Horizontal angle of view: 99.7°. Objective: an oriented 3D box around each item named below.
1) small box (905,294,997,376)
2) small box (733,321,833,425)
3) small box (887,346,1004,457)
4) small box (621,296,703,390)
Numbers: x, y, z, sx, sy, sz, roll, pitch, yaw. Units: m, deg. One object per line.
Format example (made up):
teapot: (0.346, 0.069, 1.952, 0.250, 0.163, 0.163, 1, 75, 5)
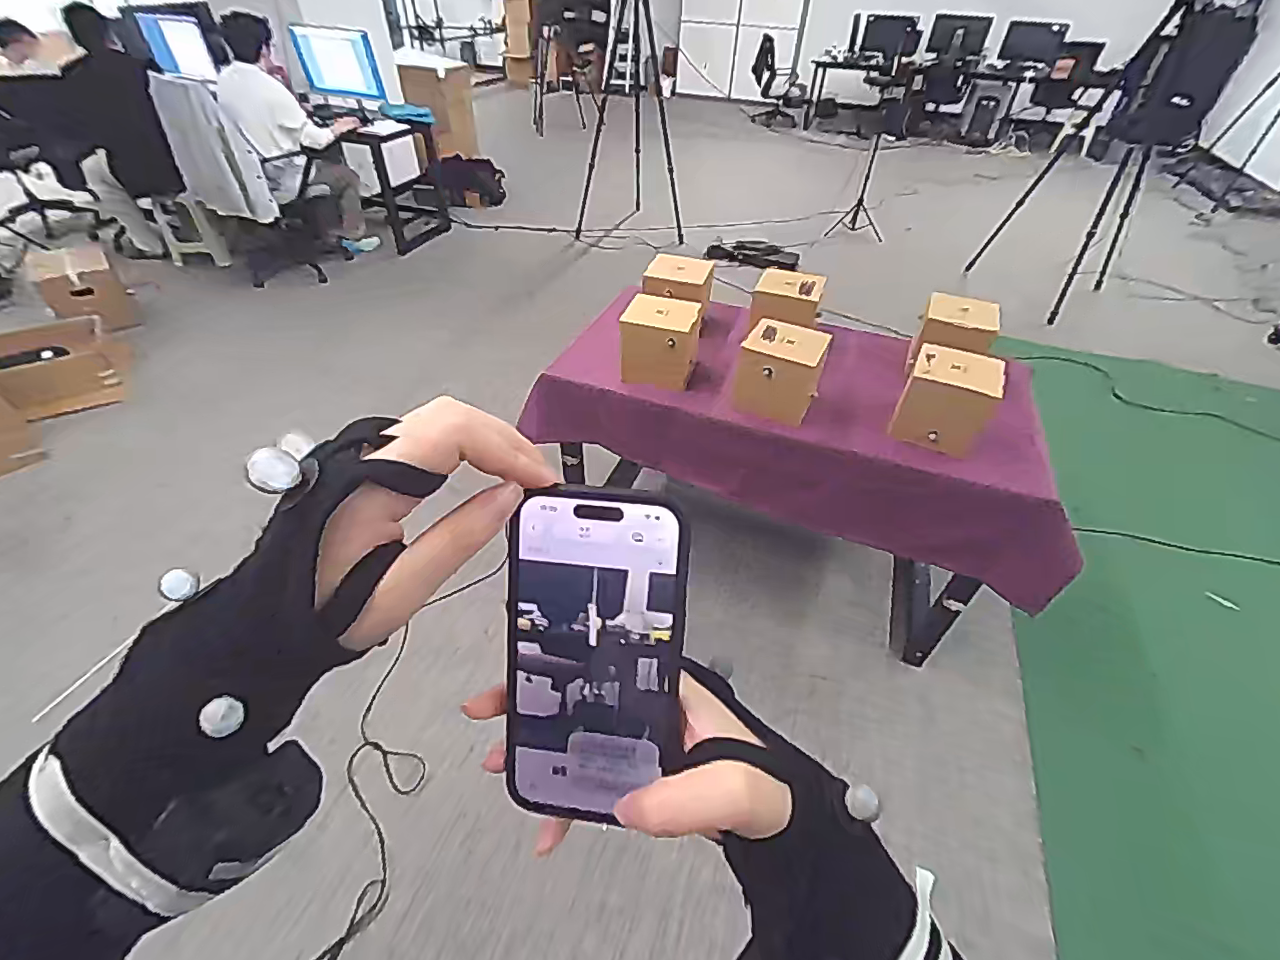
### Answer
small box: (0.826, -0.369, 1.444, 0.168, 0.176, 0.179, 19, 46, 18)
small box: (0.338, -0.257, 1.305, 0.179, 0.176, 0.168, 22, 46, 18)
small box: (0.694, -0.177, 1.235, 0.179, 0.176, 0.168, 22, 46, 19)
small box: (0.053, -0.352, 1.395, 0.179, 0.176, 0.168, 13, 44, 10)
